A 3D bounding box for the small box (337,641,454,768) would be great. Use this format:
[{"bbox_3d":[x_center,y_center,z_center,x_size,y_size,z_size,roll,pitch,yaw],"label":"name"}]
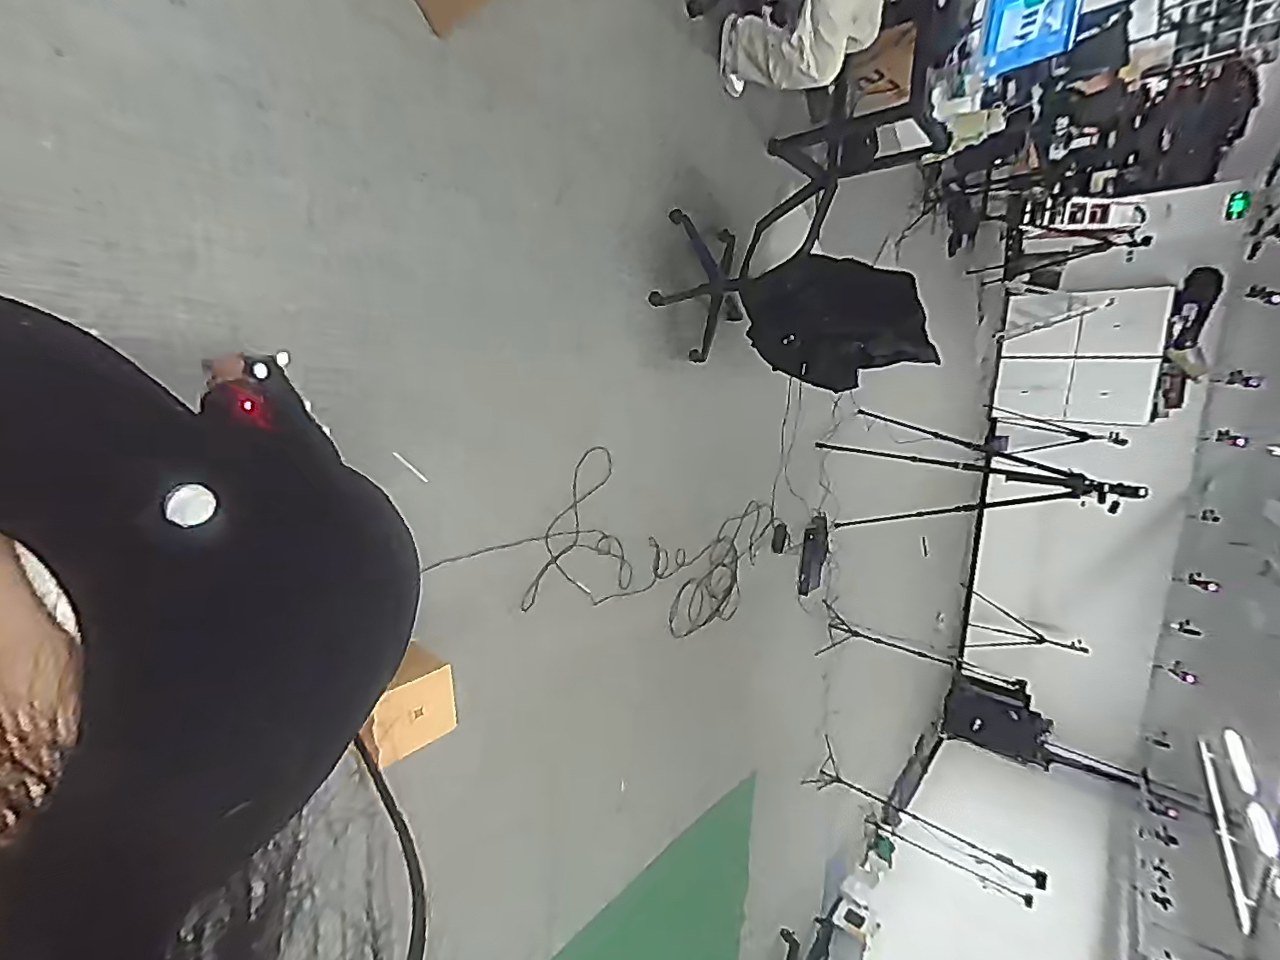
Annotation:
[{"bbox_3d":[-0.537,0.481,1.192,0.179,0.176,0.168,-14,108,-46],"label":"small box"}]
